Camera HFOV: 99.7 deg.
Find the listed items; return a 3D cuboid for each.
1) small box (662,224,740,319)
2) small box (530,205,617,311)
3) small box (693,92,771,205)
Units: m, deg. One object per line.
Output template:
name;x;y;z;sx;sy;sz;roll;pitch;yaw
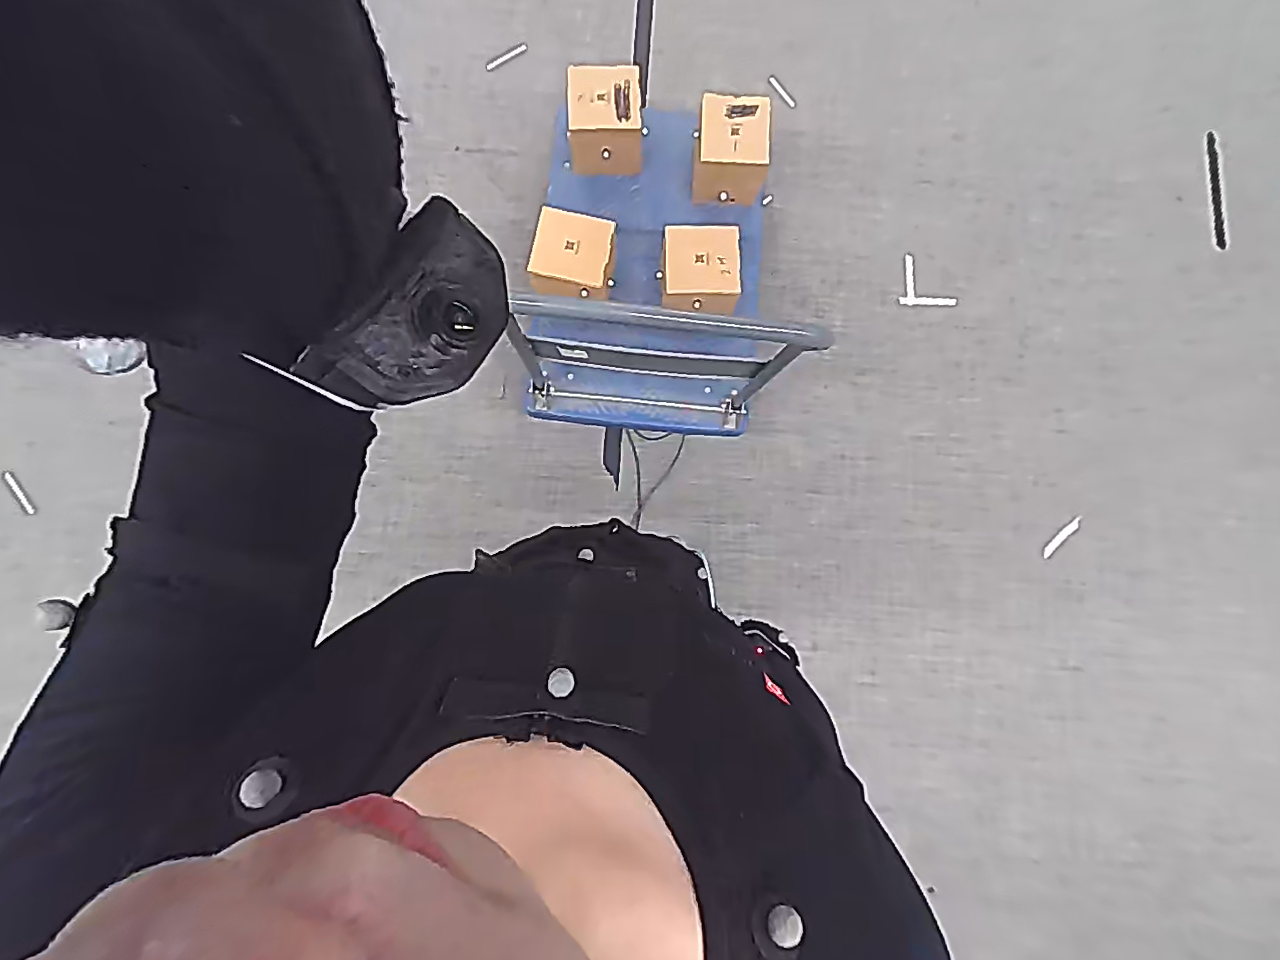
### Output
small box;0.145;-0.509;1.337;0.179;0.176;0.168;0;84;-2
small box;-0.158;-0.536;1.330;0.179;0.176;0.168;12;83;-2
small box;0.228;-0.836;1.374;0.168;0.176;0.179;2;85;-1
